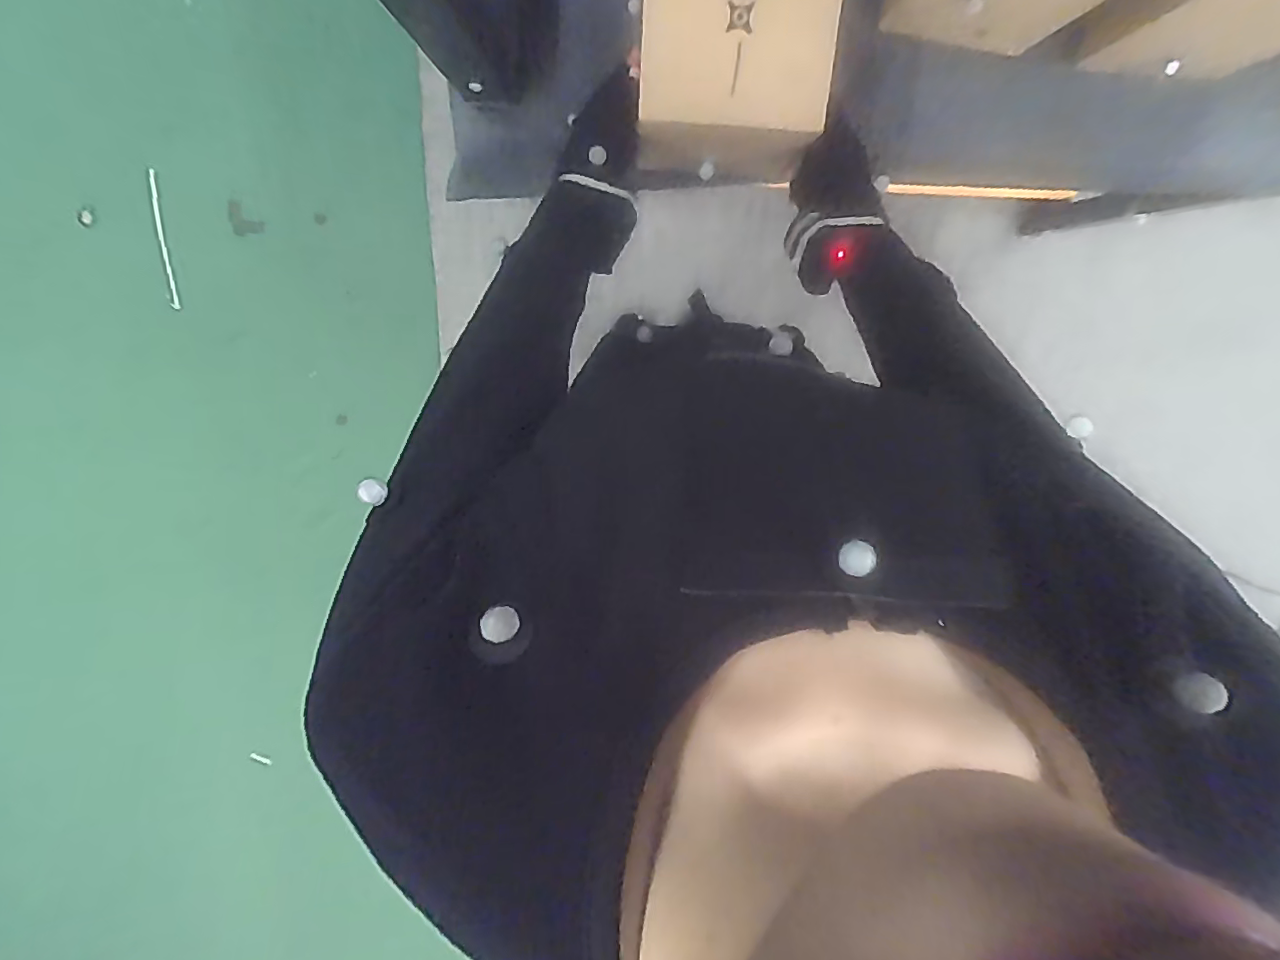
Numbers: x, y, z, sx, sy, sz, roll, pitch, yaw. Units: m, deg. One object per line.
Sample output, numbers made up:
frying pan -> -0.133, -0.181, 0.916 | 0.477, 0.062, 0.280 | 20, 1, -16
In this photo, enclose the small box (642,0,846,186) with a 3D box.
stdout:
small box -> 0.088, -0.410, 0.531 | 0.168, 0.176, 0.179 | 3, 107, -1
